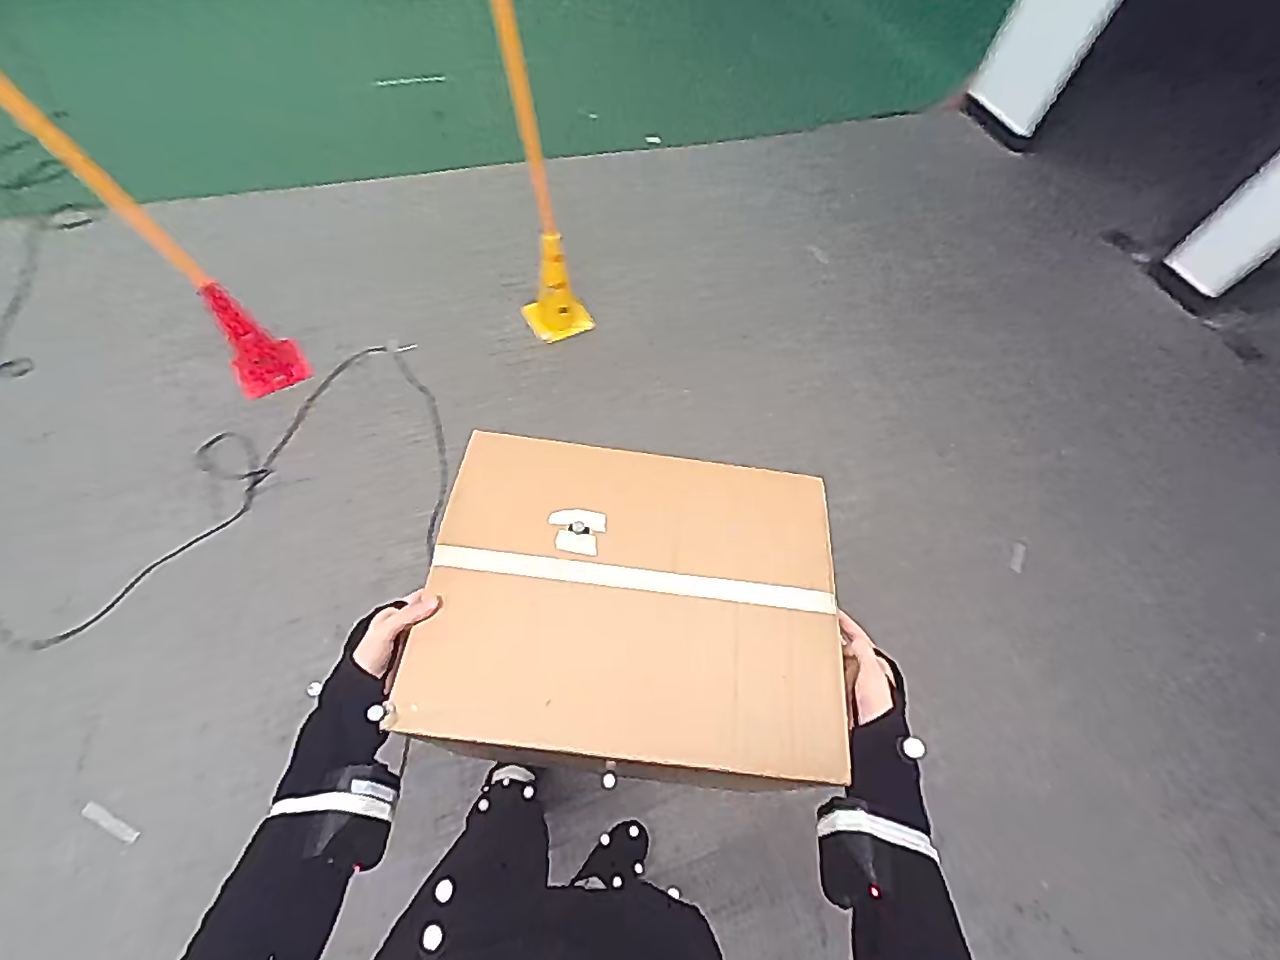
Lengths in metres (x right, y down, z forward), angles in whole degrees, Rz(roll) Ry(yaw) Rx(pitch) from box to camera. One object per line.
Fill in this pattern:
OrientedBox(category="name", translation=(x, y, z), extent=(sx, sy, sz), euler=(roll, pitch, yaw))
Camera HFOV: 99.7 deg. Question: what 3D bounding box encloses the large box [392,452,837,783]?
OrientedBox(category="large box", translation=(-0.020, 0.191, 0.680), extent=(0.408, 0.320, 0.320), euler=(6, 57, -1))
